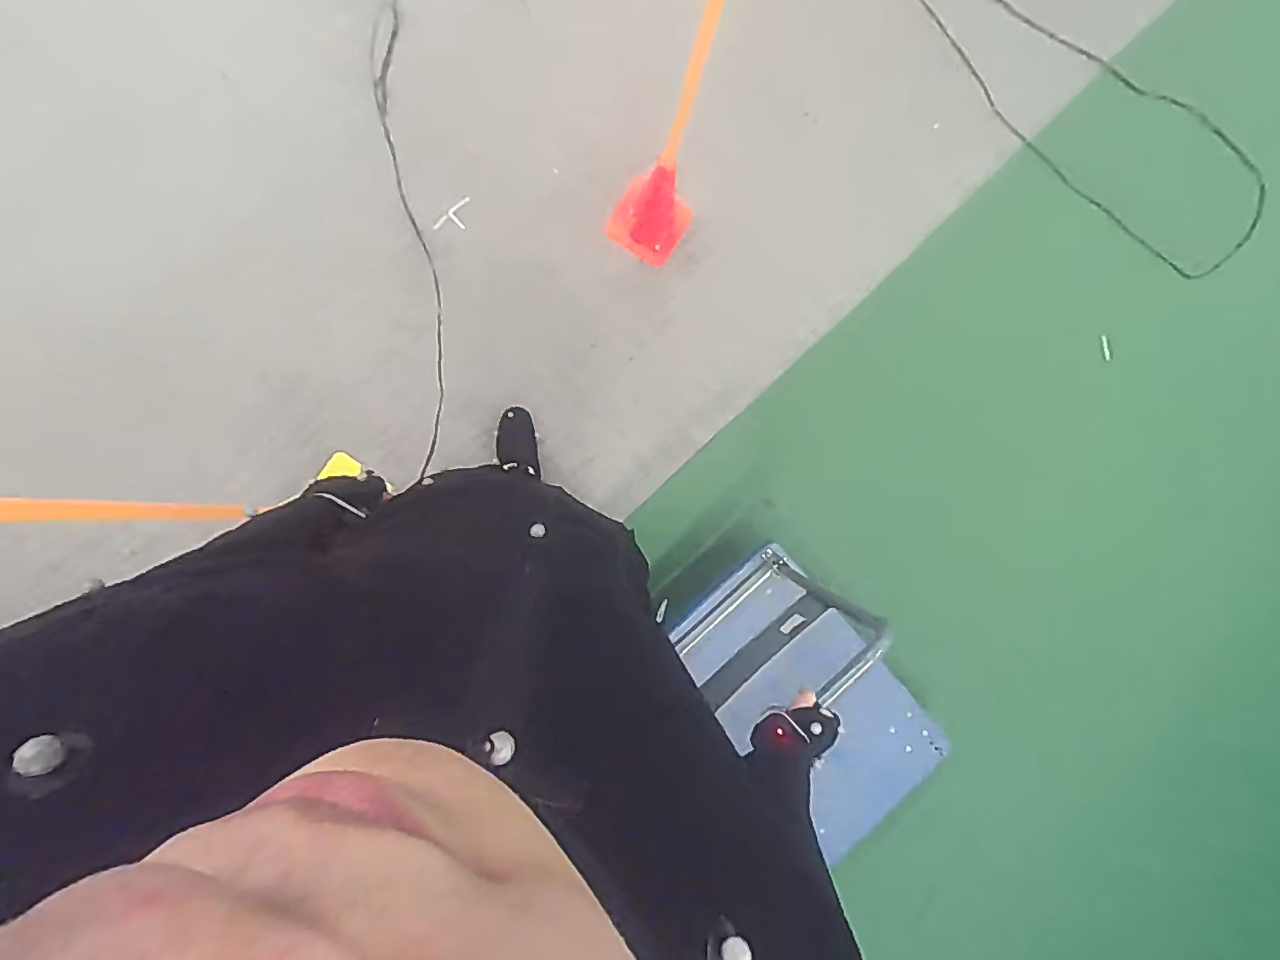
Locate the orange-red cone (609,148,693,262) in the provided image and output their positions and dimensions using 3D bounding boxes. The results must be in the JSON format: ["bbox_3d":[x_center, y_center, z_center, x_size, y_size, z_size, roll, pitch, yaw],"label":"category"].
[{"bbox_3d":[0.054,-0.758,1.415,0.198,0.360,0.199,33,89,-8],"label":"orange-red cone"}]
